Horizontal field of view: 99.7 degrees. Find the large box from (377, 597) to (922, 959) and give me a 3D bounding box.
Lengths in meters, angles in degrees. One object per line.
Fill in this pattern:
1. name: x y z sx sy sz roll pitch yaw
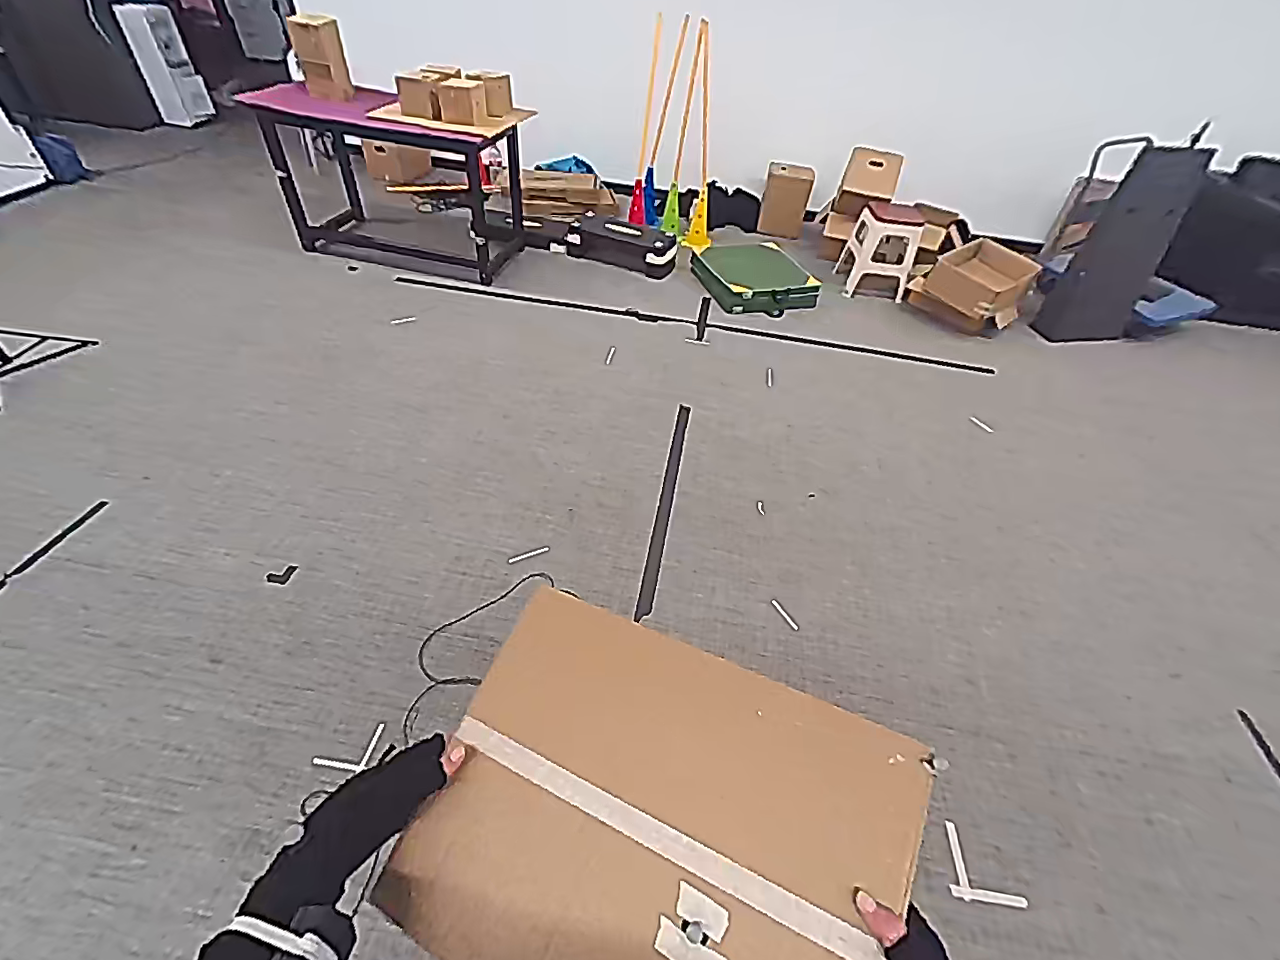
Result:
1. large box: 0.027 0.378 0.597 0.408 0.320 0.320 18 66 19
